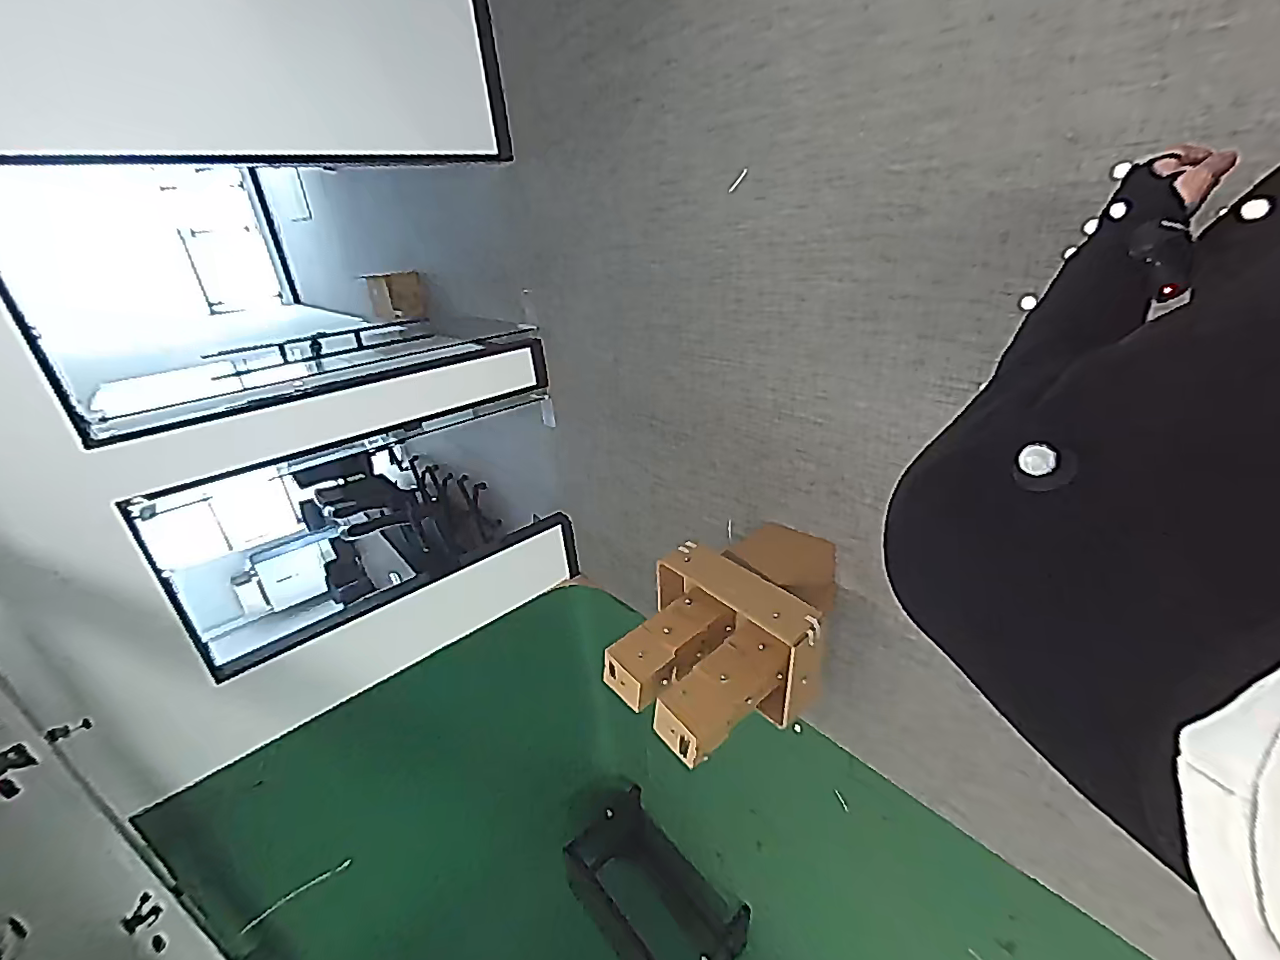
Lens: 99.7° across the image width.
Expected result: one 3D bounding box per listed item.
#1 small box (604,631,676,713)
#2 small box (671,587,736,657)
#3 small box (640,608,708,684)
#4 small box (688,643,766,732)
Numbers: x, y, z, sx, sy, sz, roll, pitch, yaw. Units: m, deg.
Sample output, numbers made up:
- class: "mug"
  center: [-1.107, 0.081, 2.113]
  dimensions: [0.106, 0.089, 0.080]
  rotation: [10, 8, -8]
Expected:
- class: "small box"
  center: [-0.002, 0.641, 1.839]
  dimensions: [0.179, 0.176, 0.168]
  rotation: [31, 132, 35]
- class: "small box"
  center: [0.236, 0.526, 2.027]
  dimensions: [0.179, 0.176, 0.168]
  rotation: [25, 129, 42]
- class: "small box"
  center: [0.120, 0.583, 1.931]
  dimensions: [0.179, 0.176, 0.168]
  rotation: [23, 126, 41]
- class: "small box"
  center: [0.284, 0.672, 1.767]
  dimensions: [0.179, 0.176, 0.168]
  rotation: [36, 135, 36]
